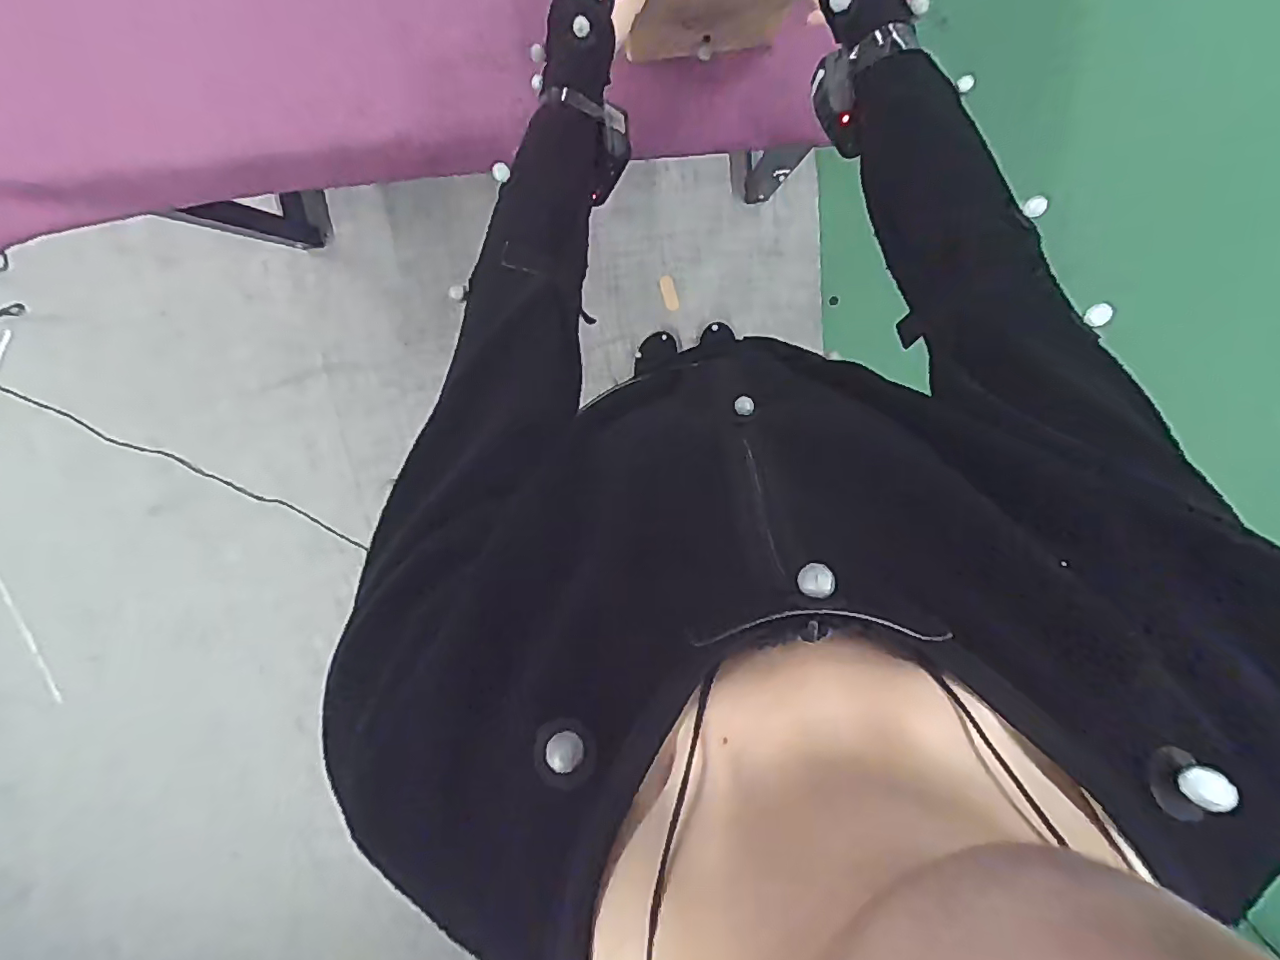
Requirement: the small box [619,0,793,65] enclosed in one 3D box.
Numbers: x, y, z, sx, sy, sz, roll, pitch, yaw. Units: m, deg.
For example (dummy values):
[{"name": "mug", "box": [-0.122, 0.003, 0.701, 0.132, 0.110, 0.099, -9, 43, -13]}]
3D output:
[{"name": "small box", "box": [0.062, -0.547, 0.536, 0.179, 0.176, 0.168, -4, 108, 3]}]
